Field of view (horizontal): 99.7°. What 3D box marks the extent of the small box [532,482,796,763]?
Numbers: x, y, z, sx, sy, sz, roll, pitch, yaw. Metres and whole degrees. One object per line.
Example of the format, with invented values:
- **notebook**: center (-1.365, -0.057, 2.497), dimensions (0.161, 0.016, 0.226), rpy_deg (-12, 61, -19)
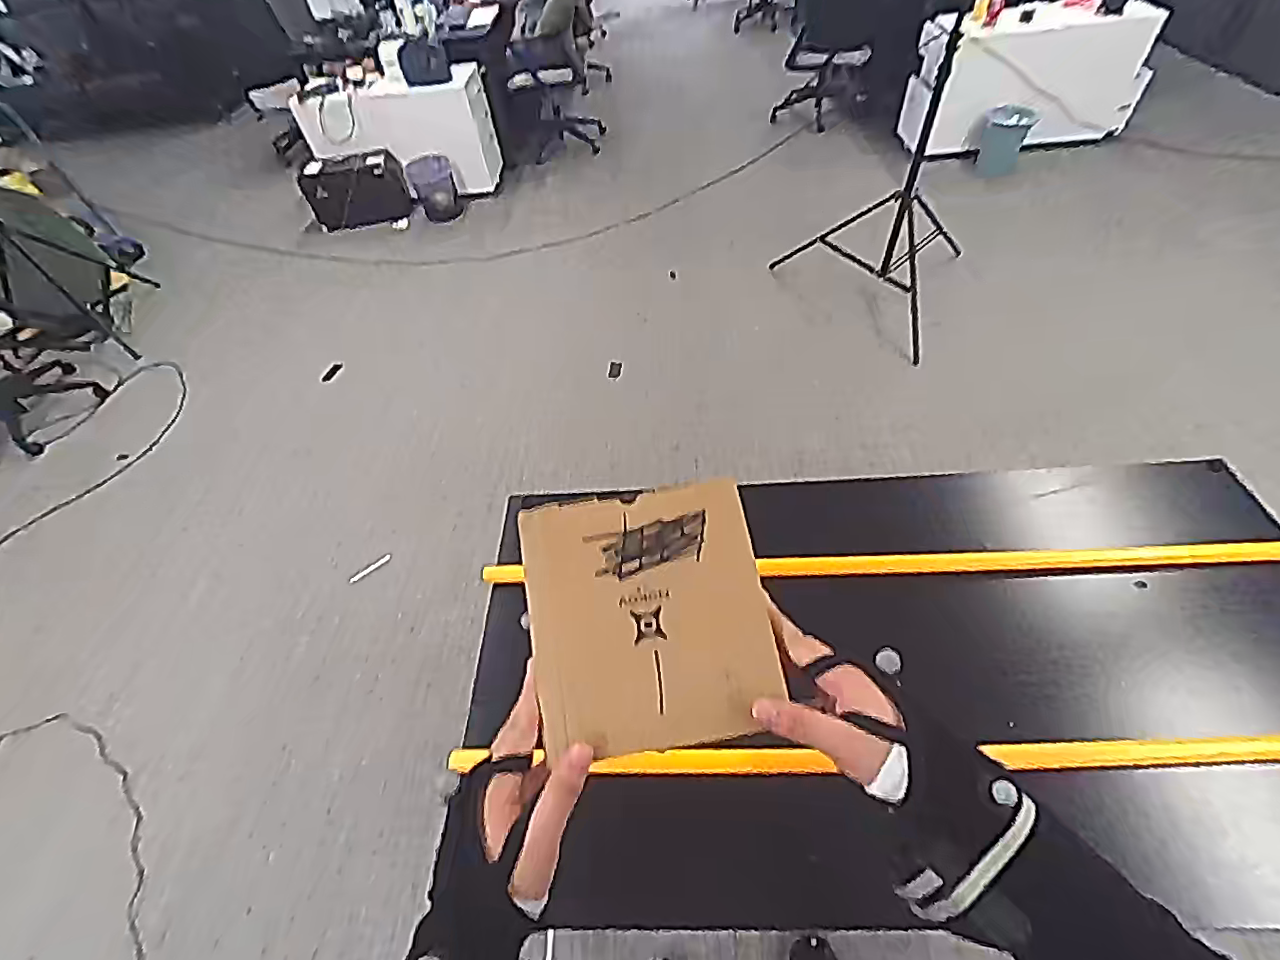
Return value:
- **small box**: center (0.011, 0.120, 0.459), dimensions (0.168, 0.176, 0.179), rpy_deg (-10, 71, -2)
